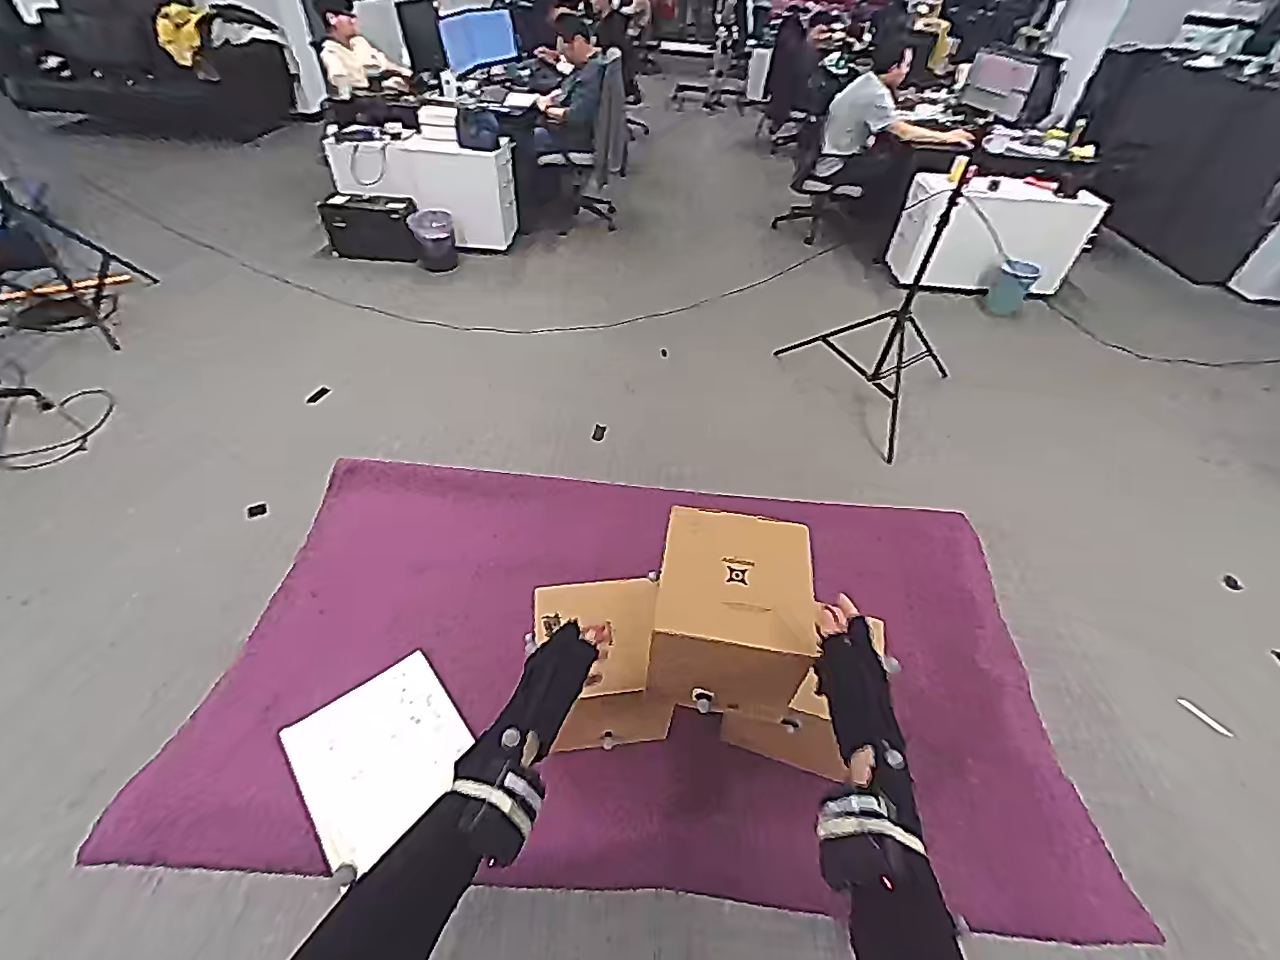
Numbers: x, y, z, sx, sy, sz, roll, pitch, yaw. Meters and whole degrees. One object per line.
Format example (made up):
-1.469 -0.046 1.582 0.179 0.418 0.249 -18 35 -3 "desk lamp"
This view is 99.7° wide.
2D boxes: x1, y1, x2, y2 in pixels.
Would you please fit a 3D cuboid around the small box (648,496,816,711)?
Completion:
0.102 0.146 0.647 0.168 0.176 0.179 7 44 5 "small box"

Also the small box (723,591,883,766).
0.224 0.271 0.760 0.179 0.176 0.168 15 45 11 "small box"

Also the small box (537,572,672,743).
-0.053 0.250 0.763 0.179 0.176 0.168 -3 44 -9 "small box"
